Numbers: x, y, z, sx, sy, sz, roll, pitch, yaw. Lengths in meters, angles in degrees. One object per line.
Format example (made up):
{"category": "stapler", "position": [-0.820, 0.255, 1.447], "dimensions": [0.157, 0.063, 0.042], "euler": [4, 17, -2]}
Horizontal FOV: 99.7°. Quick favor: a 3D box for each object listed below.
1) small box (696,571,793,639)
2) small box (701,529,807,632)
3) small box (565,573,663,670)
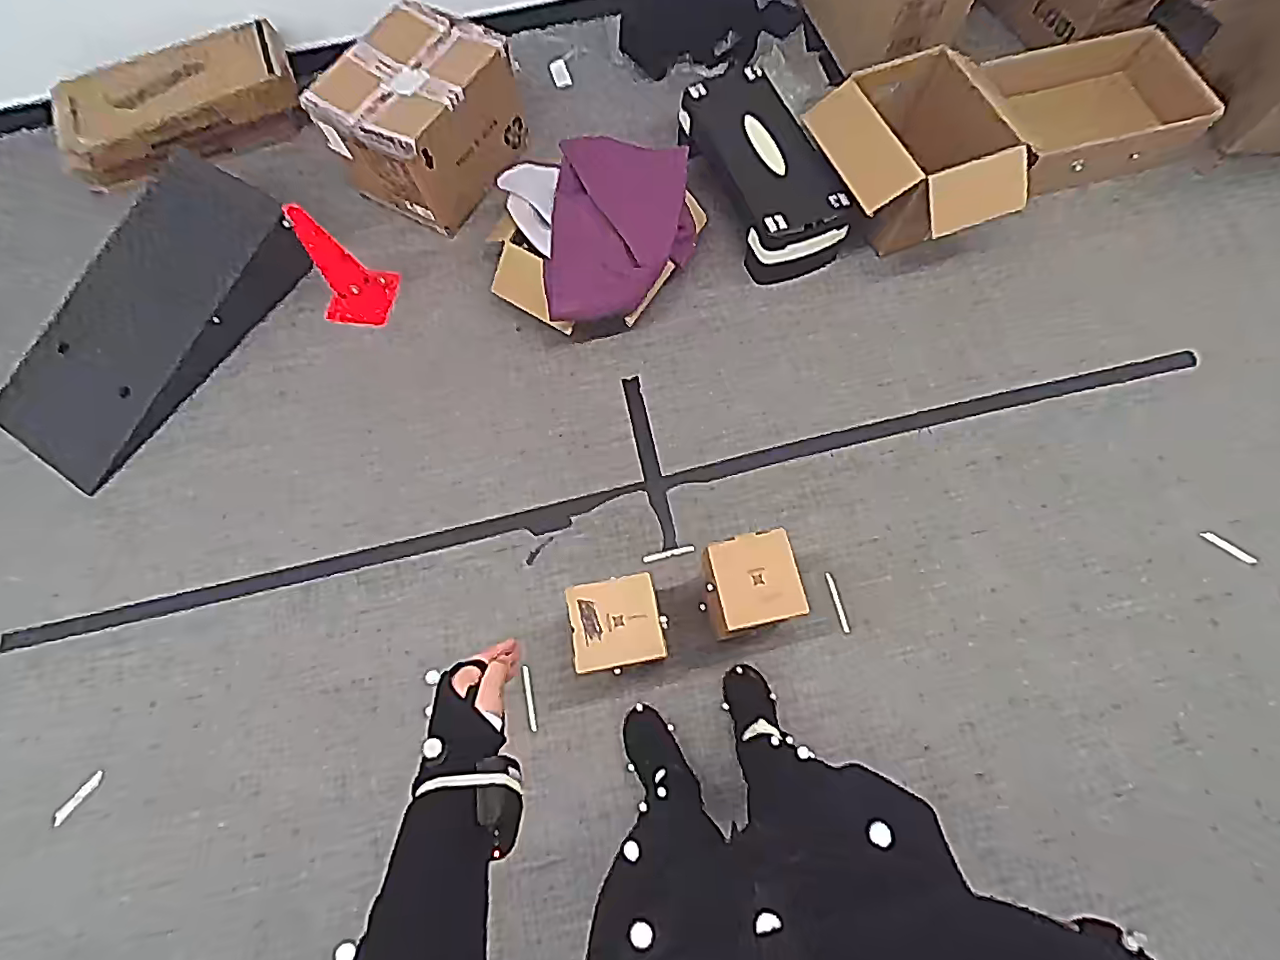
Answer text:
{"category": "small box", "position": [0.244, 0.282, 1.305], "dimensions": [0.179, 0.176, 0.168], "euler": [-14, 72, -3]}
{"category": "small box", "position": [0.232, 0.220, 1.154], "dimensions": [0.168, 0.176, 0.179], "euler": [-12, 73, -2]}
{"category": "small box", "position": [-0.050, 0.301, 1.132], "dimensions": [0.179, 0.176, 0.168], "euler": [-9, 71, -2]}
